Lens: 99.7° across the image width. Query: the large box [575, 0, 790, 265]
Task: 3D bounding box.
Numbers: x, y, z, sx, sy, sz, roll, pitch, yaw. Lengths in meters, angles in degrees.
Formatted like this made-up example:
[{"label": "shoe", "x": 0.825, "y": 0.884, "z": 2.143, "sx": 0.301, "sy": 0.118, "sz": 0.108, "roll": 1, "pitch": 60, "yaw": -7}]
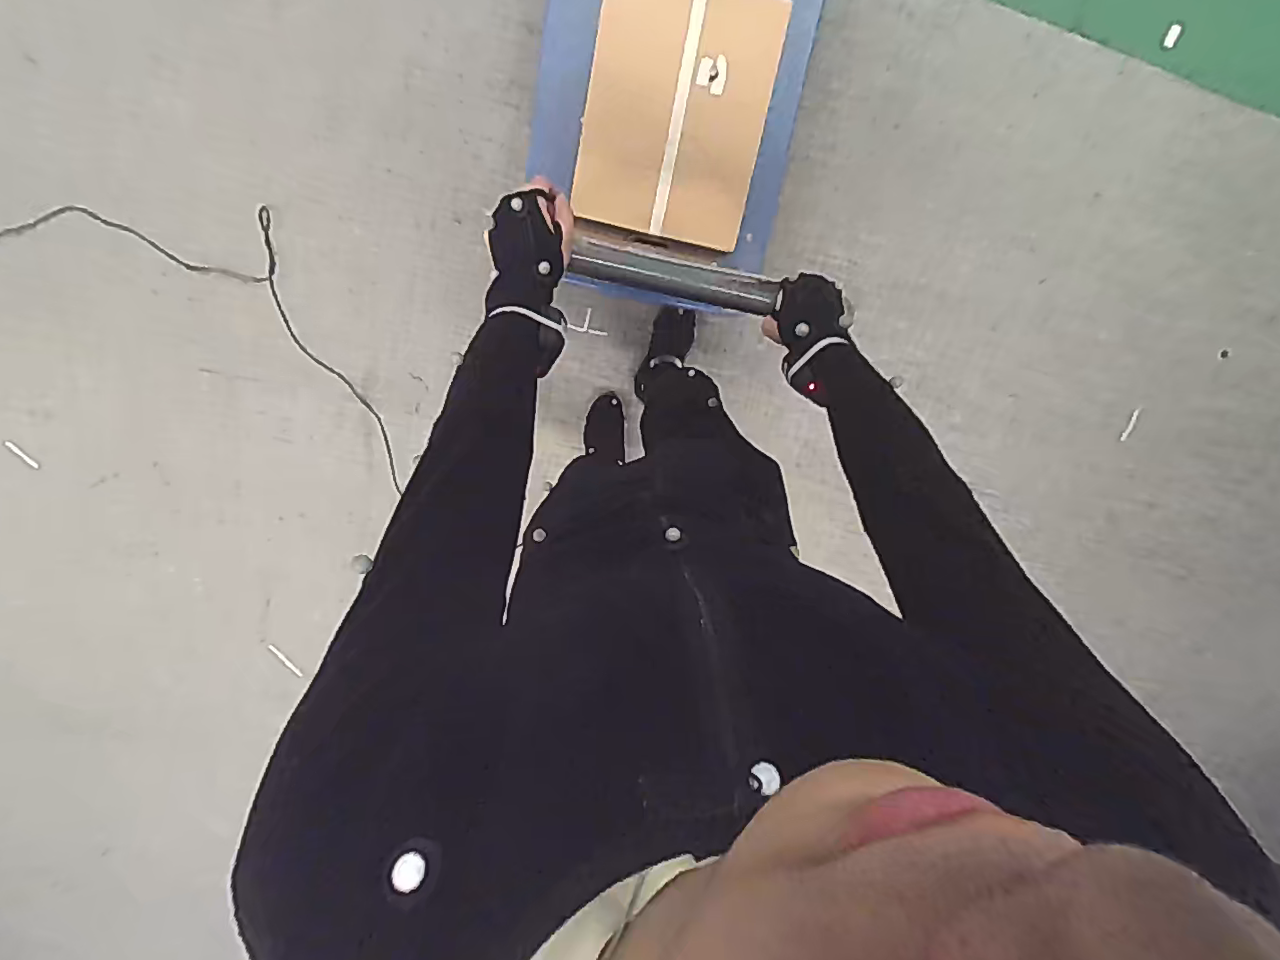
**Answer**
[{"label": "large box", "x": 0.059, "y": -0.679, "z": 1.078, "sx": 0.320, "sy": 0.320, "sz": 0.408, "roll": 10, "pitch": 105, "yaw": -8}]
